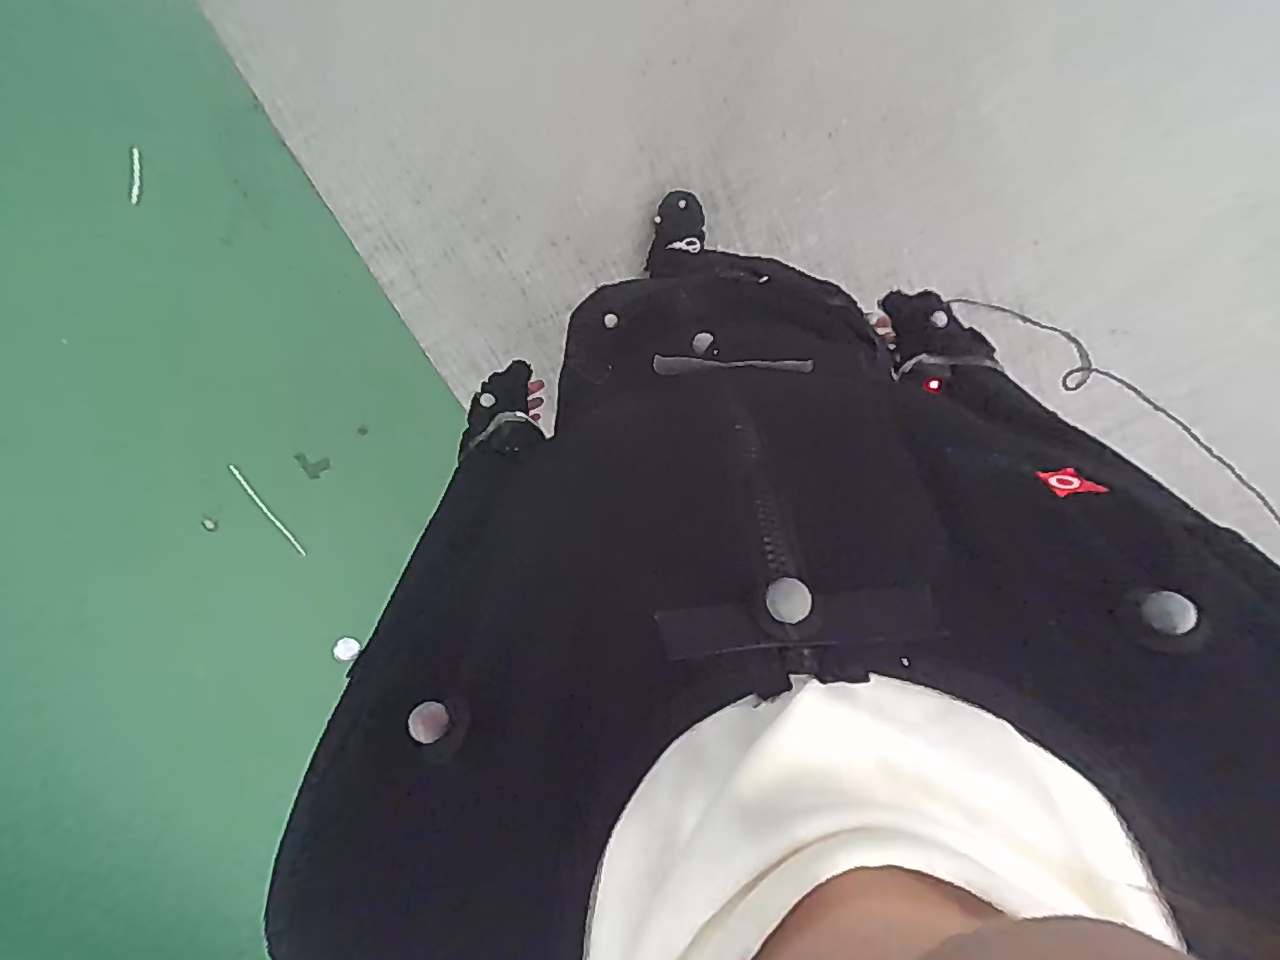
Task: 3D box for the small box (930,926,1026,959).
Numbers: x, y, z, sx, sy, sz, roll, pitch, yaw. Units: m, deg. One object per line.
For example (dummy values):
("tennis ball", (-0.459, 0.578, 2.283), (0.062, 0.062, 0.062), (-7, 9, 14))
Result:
("small box", (0.708, 1.032, 1.067), (0.168, 0.176, 0.179), (-25, 112, 10))
